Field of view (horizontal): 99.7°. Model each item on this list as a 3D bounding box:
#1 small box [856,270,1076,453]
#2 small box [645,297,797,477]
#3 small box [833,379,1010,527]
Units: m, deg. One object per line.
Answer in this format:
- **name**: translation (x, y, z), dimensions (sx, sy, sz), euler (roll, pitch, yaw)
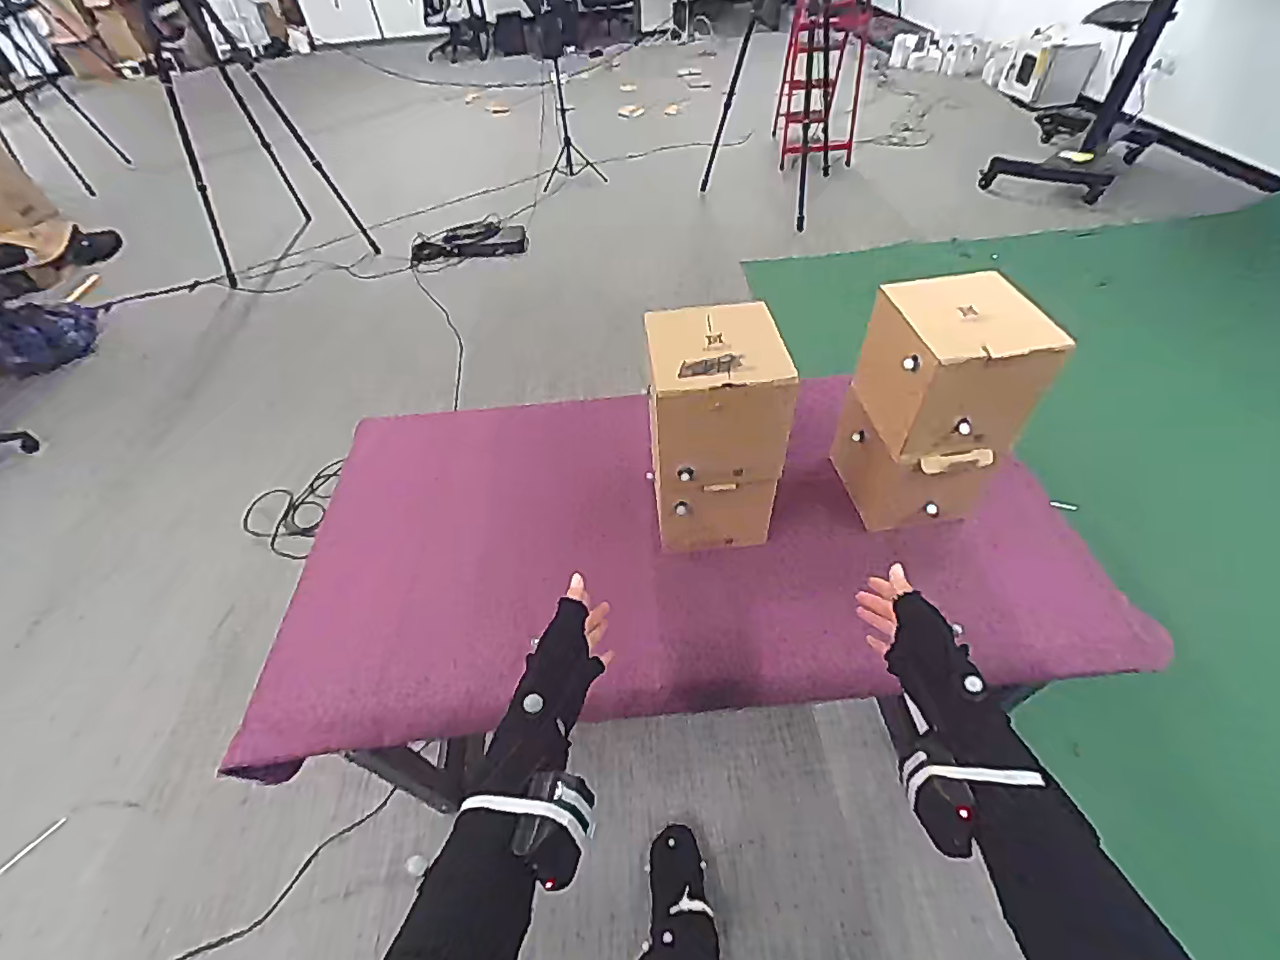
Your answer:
- **small box**: translation (0.420, -0.160, 0.738), dimensions (0.168, 0.176, 0.179), euler (-8, 50, -2)
- **small box**: translation (0.098, -0.117, 0.723), dimensions (0.168, 0.176, 0.179), euler (-6, 48, -1)
- **small box**: translation (0.426, -0.051, 0.859), dimensions (0.168, 0.176, 0.179), euler (-8, 49, -2)
